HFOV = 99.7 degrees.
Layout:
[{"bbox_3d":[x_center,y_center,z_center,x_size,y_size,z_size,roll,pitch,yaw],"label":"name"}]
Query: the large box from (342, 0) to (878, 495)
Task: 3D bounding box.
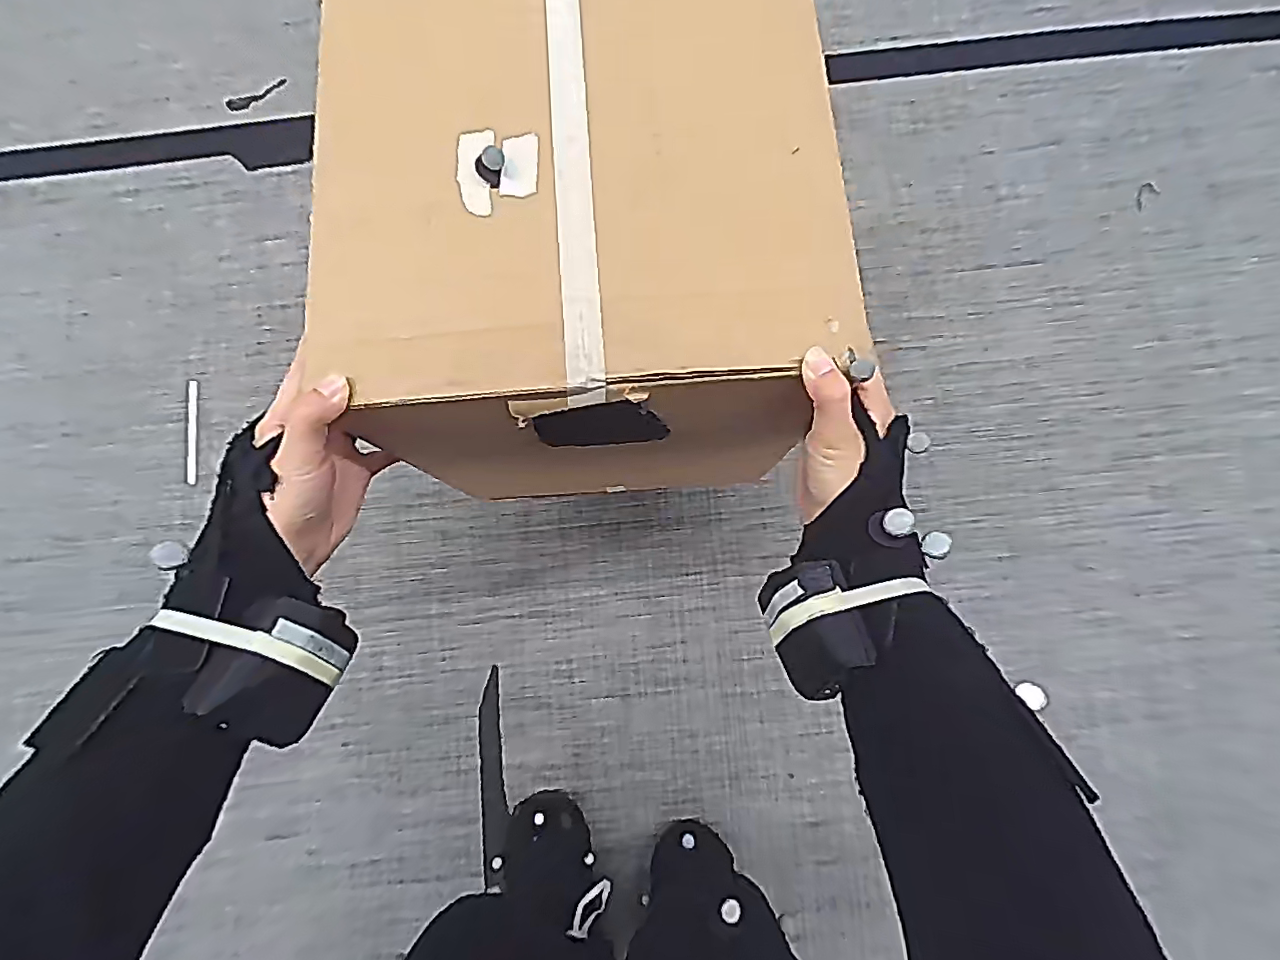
[{"bbox_3d":[-0.035,-0.218,0.489,0.320,0.320,0.408,-5,79,1],"label":"large box"}]
